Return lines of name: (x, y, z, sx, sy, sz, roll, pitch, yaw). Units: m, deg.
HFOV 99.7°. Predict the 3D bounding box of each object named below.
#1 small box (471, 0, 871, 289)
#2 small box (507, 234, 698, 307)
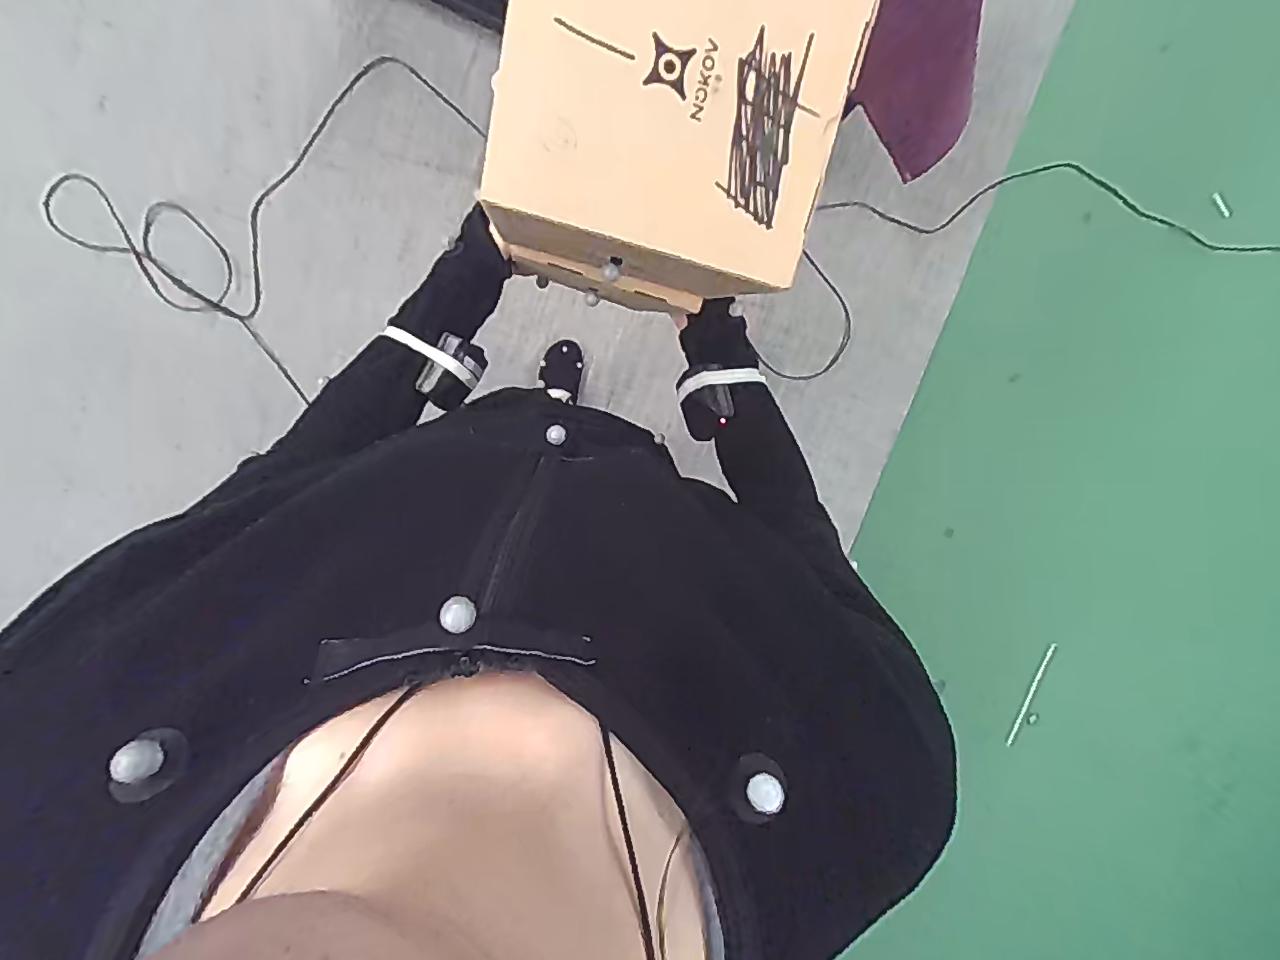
small box: (0.004, -0.227, 0.343, 0.179, 0.176, 0.168, 11, 104, -13)
small box: (-0.020, -0.271, 0.499, 0.168, 0.176, 0.179, 14, 104, -14)
